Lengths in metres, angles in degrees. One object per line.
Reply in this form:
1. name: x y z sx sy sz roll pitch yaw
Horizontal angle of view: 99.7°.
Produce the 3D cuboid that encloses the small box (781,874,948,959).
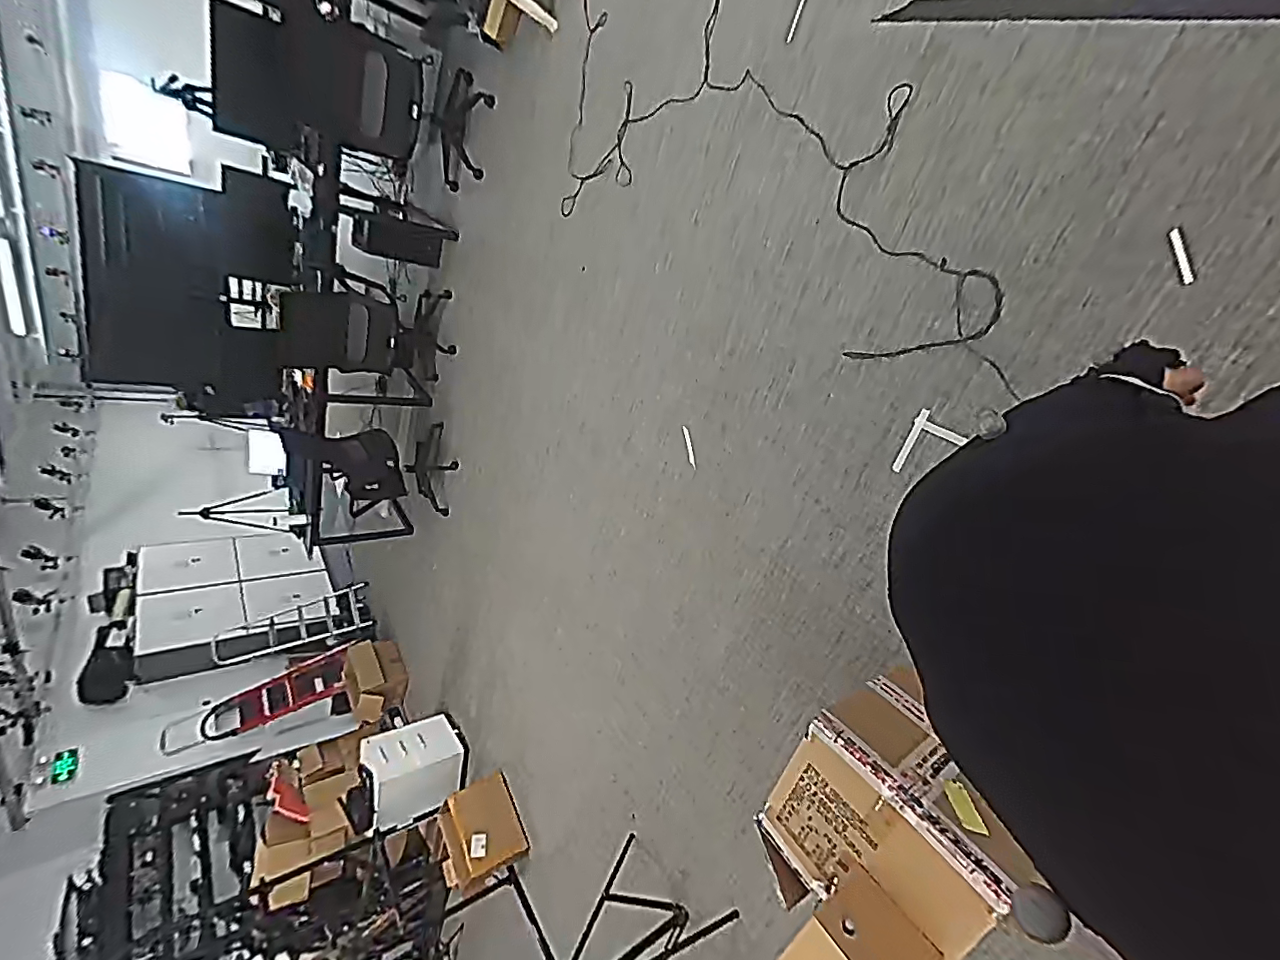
1. small box: 0.387 0.833 0.937 0.179 0.176 0.168 40 122 38
